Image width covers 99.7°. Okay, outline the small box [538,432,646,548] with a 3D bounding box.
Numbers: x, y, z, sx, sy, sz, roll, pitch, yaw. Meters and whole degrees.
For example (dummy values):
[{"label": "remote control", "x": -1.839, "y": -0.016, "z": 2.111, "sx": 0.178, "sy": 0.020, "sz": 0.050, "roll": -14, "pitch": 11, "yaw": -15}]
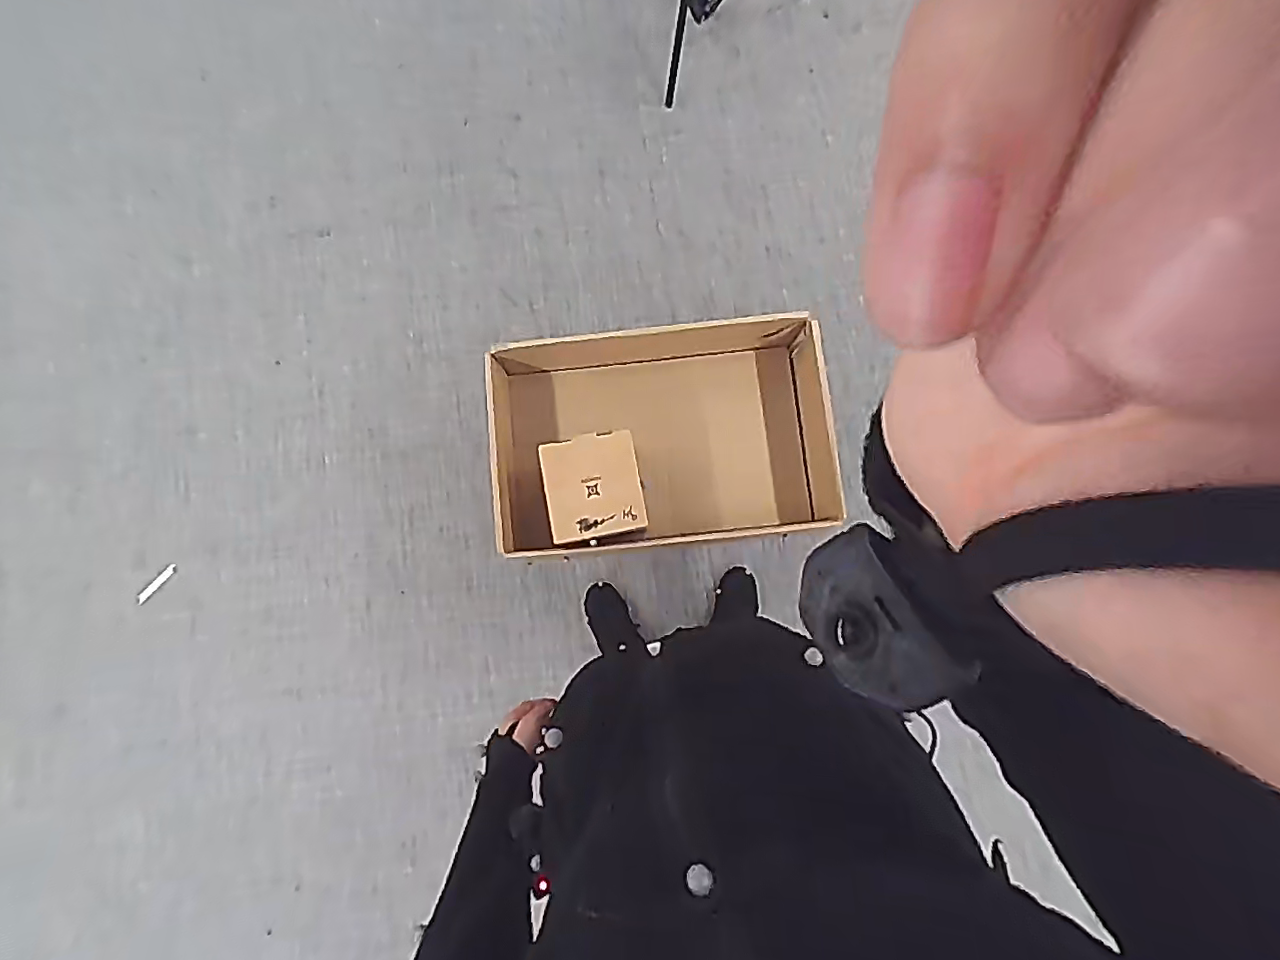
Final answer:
[{"label": "small box", "x": -0.084, "y": 0.025, "z": 1.007, "sx": 0.168, "sy": 0.176, "sz": 0.179, "roll": -11, "pitch": 82, "yaw": 0}]
